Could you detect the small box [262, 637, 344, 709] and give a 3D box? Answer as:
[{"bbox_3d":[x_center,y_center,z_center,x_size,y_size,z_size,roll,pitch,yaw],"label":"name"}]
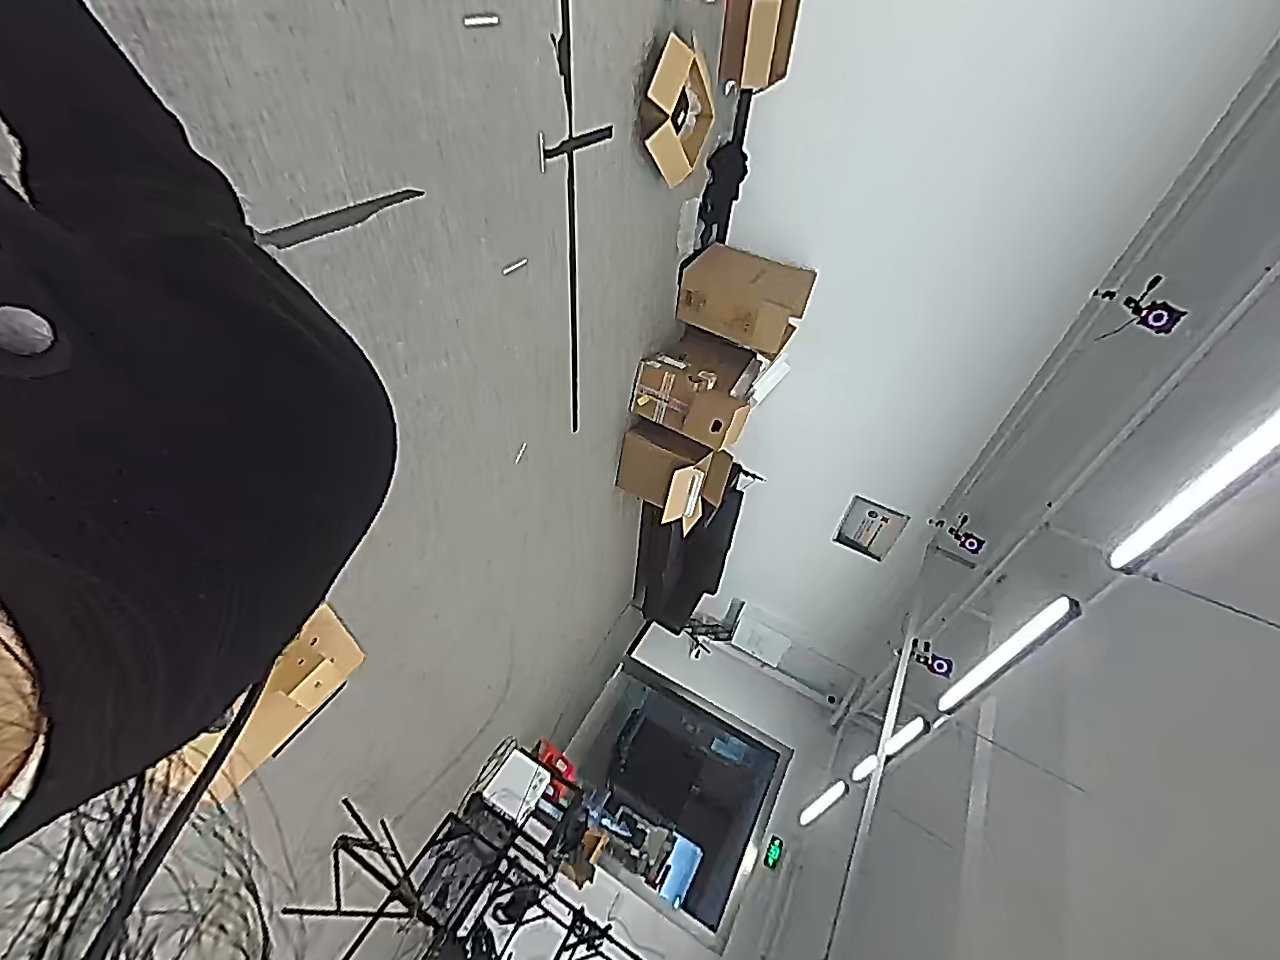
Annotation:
[{"bbox_3d":[-1.269,0.720,2.035,0.168,0.176,0.179,-52,158,-35],"label":"small box"}]
